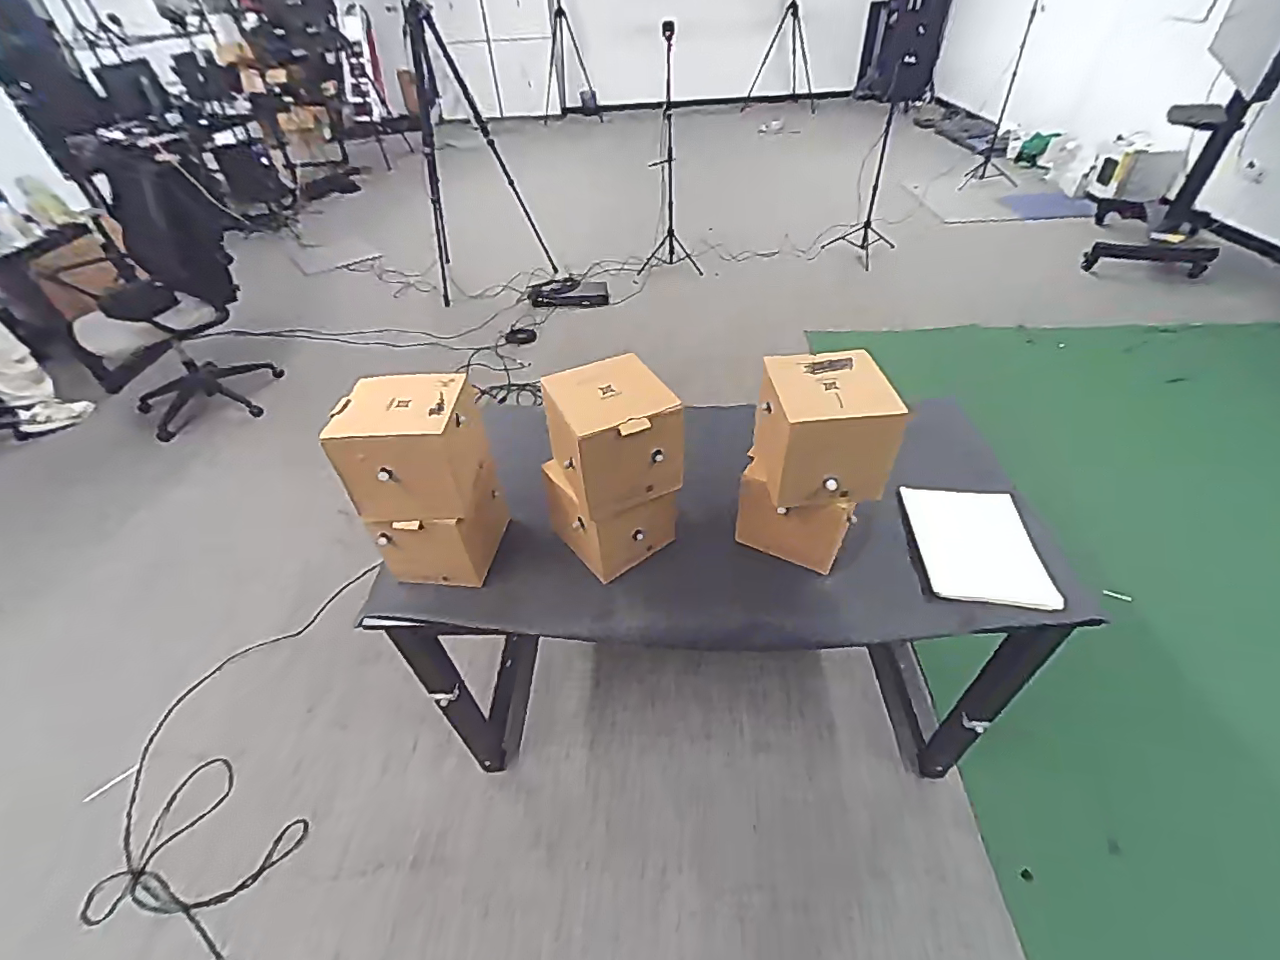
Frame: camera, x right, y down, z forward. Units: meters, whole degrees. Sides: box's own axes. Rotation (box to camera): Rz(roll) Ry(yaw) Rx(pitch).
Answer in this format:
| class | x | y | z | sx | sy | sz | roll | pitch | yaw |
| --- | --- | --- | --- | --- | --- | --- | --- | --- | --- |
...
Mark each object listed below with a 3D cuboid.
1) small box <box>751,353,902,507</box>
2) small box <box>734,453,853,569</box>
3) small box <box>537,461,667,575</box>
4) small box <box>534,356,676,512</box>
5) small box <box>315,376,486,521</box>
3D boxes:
| class | x | y | z | sx | sy | sz | roll | pitch | yaw |
| --- | --- | --- | --- | --- | --- | --- | --- | --- | --- |
| small box | 0.275 | -0.079 | 0.846 | 0.168 | 0.176 | 0.179 | -5 | 42 | 0 |
| small box | 0.282 | 0.033 | 0.968 | 0.179 | 0.176 | 0.168 | 19 | 47 | 25 |
| small box | -0.062 | 0.046 | 0.977 | 0.168 | 0.176 | 0.179 | -29 | 48 | -26 |
| small box | -0.053 | -0.069 | 0.861 | 0.168 | 0.176 | 0.179 | -20 | 44 | -19 |
| small box | -0.363 | -0.048 | 0.858 | 0.179 | 0.176 | 0.168 | -3 | 41 | 1 |
